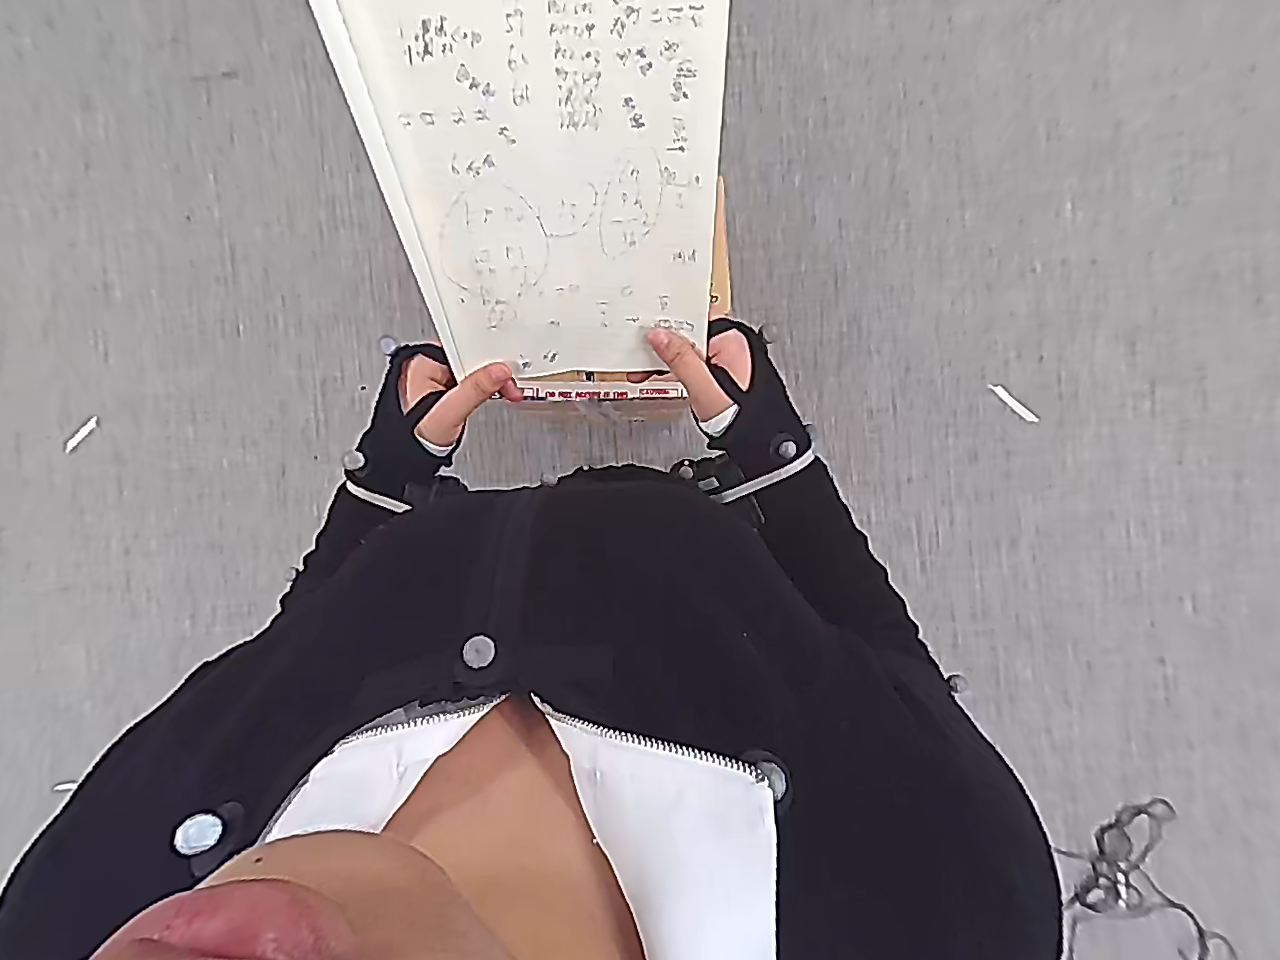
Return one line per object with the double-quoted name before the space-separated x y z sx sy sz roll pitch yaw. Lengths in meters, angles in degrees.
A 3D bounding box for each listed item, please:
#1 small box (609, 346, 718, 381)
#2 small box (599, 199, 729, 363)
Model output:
"small box" 0.031 -0.271 0.942 0.179 0.176 0.168 -6 92 1
"small box" 0.029 -0.275 0.778 0.168 0.176 0.179 -4 92 -1
